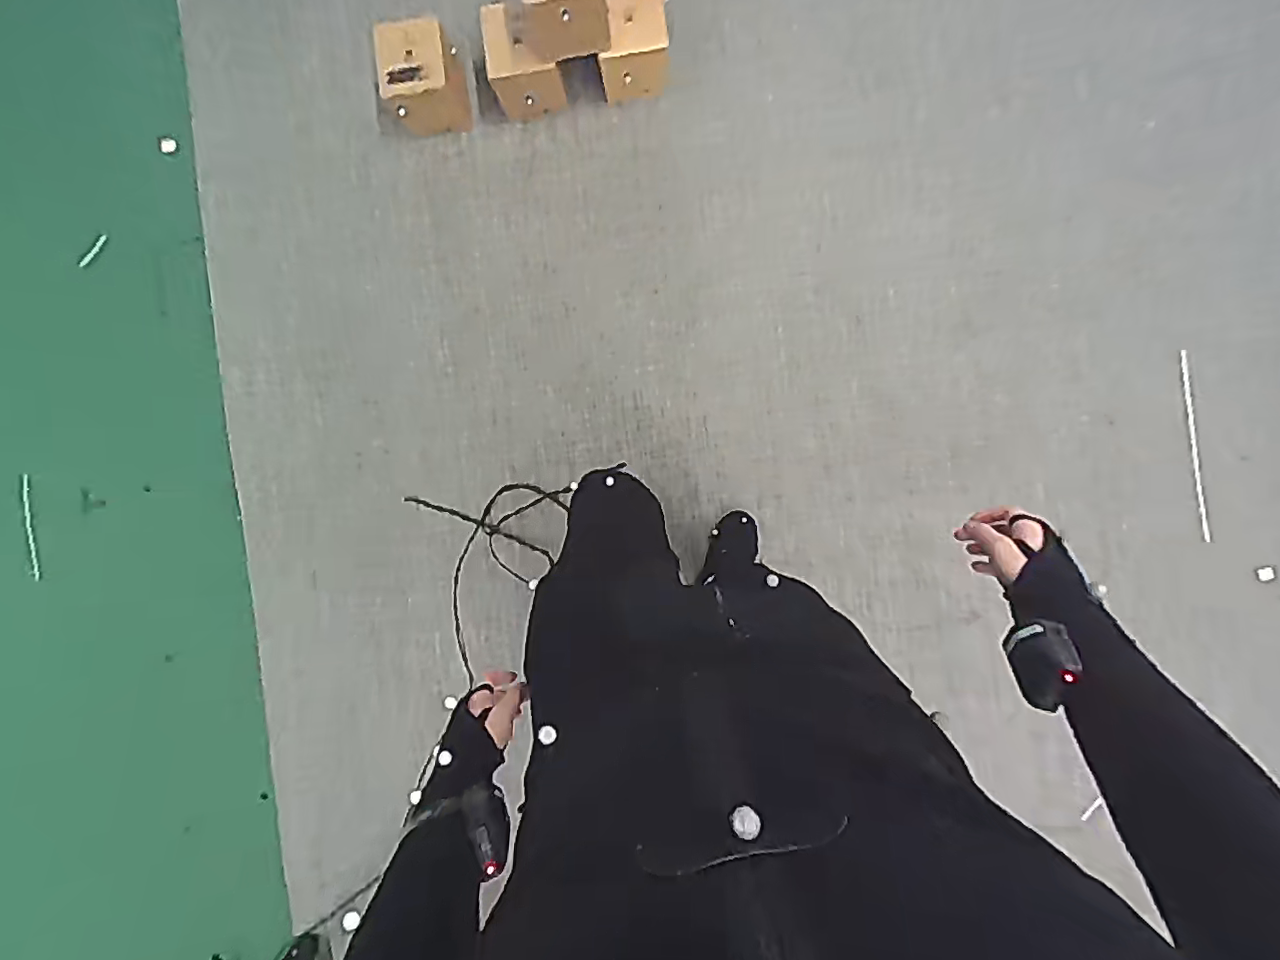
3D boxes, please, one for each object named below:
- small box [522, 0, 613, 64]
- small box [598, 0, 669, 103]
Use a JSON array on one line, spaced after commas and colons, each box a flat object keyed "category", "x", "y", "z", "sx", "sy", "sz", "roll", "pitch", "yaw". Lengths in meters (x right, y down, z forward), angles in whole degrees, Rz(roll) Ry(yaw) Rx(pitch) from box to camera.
[{"category": "small box", "x": -0.164, "y": -1.070, "z": 1.197, "sx": 0.179, "sy": 0.176, "sz": 0.168, "roll": -8, "pitch": 90, "yaw": 2}, {"category": "small box", "x": -0.018, "y": -1.081, "z": 1.351, "sx": 0.168, "sy": 0.176, "sz": 0.179, "roll": -7, "pitch": 90, "yaw": 4}]
